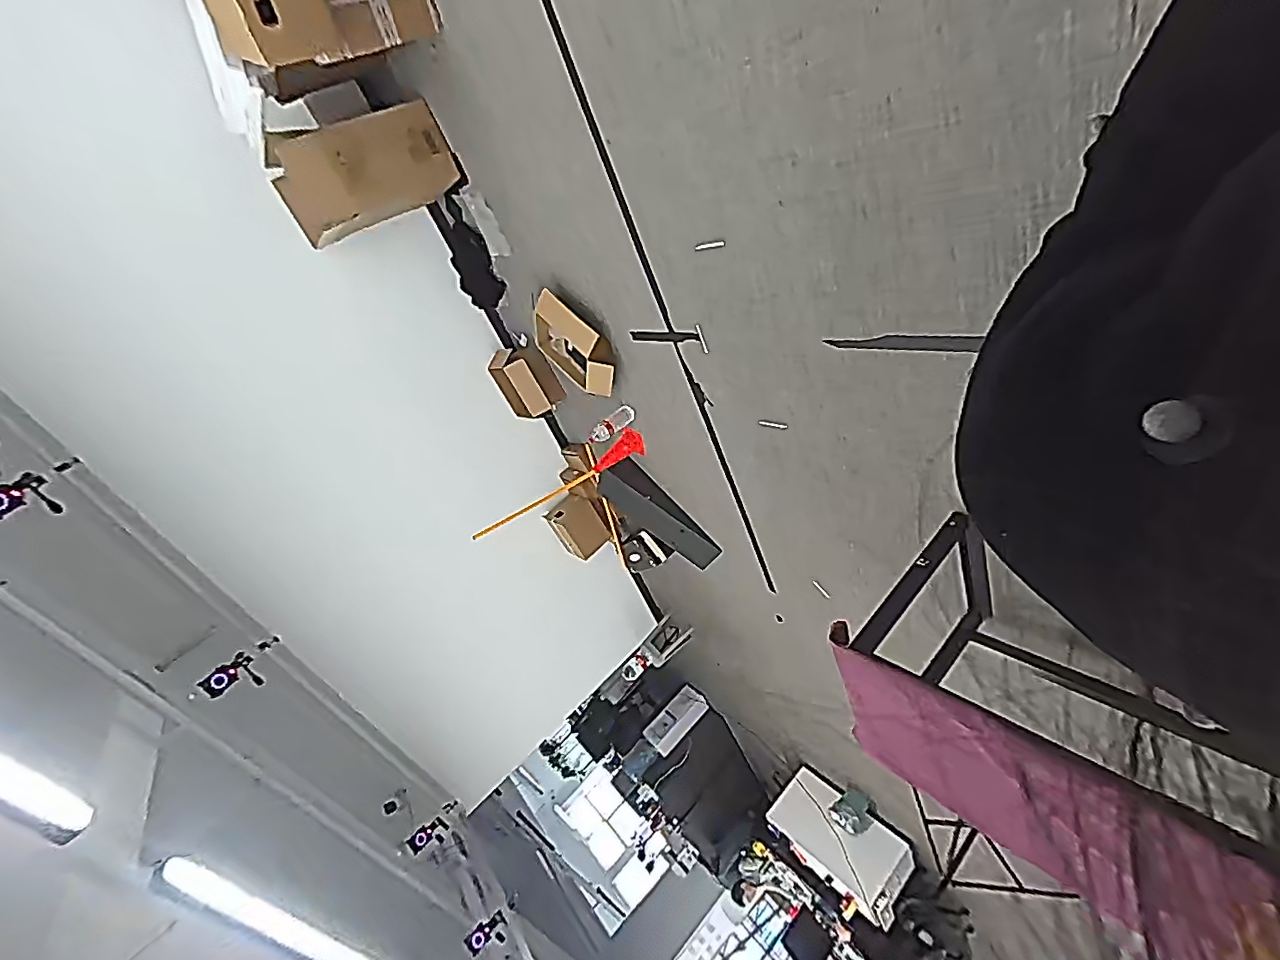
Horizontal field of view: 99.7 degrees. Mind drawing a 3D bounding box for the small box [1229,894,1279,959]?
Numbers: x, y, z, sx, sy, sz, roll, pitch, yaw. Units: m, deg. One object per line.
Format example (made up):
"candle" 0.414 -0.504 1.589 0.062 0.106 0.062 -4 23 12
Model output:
"small box" 1.168 0.894 0.954 0.168 0.176 0.179 16 141 53
